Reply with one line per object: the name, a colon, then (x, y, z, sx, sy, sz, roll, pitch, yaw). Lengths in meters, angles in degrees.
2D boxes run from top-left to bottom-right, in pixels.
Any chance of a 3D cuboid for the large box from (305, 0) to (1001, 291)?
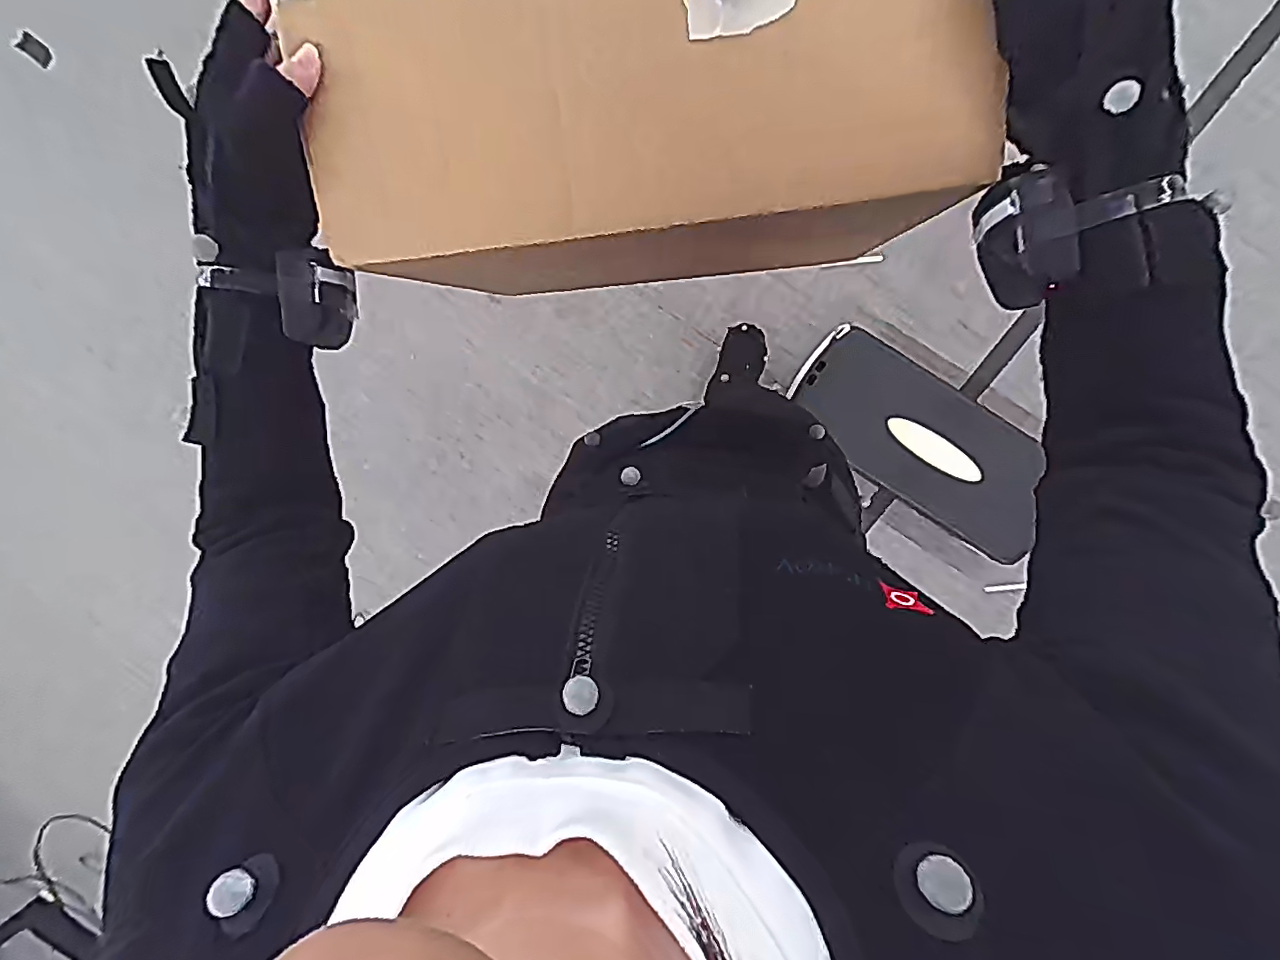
large box: (0.008, -0.350, 0.443, 0.408, 0.320, 0.320, -4, 105, 8)
